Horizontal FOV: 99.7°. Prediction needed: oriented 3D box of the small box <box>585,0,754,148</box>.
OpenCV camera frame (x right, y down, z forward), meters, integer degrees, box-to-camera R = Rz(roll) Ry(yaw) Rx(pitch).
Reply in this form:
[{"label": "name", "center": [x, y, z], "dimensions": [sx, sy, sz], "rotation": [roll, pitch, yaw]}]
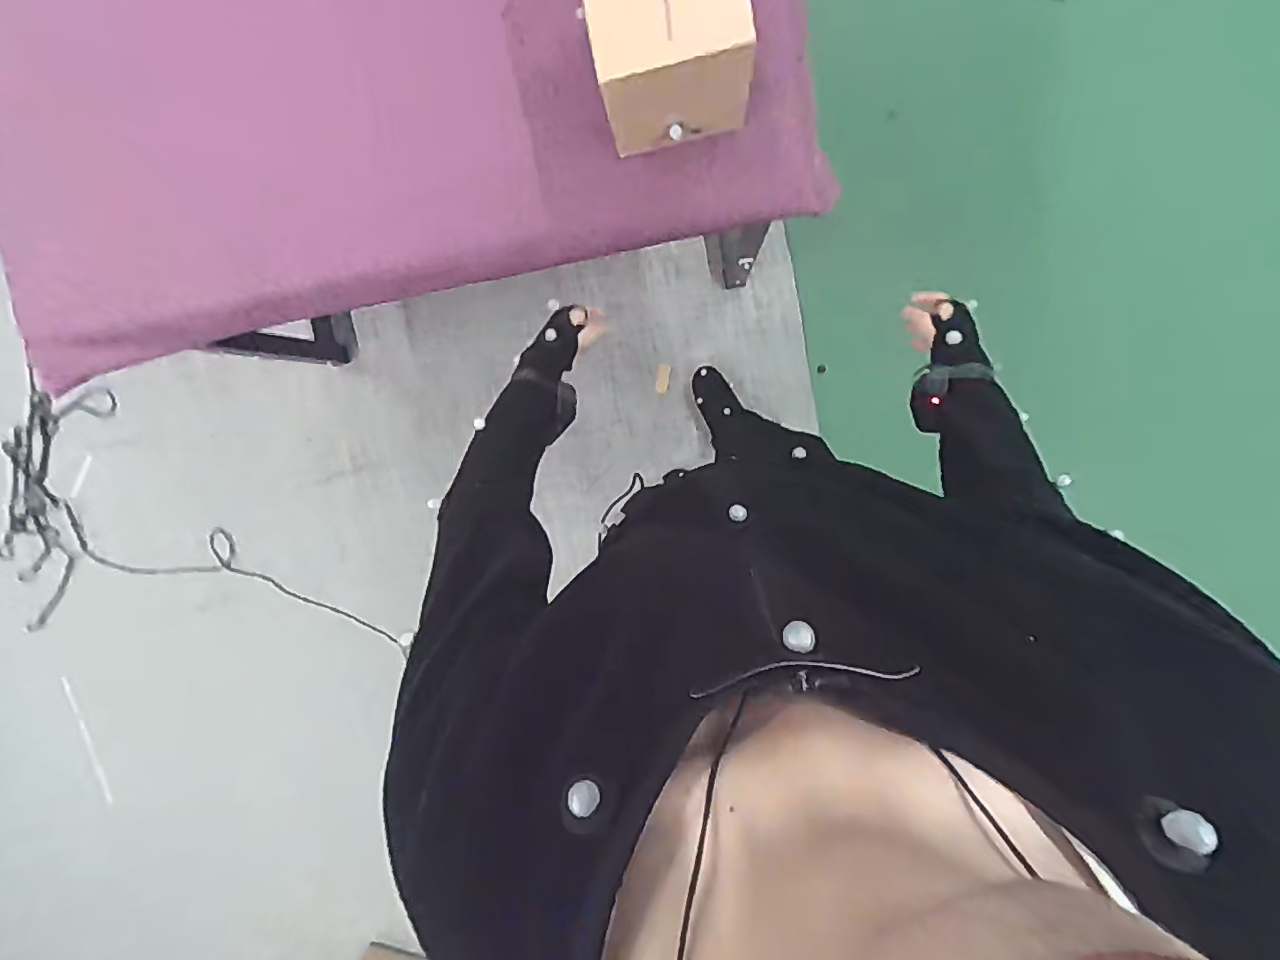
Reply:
[{"label": "small box", "center": [0.028, -0.525, 0.619], "dimensions": [0.168, 0.176, 0.179], "rotation": [-10, 96, 8]}]
